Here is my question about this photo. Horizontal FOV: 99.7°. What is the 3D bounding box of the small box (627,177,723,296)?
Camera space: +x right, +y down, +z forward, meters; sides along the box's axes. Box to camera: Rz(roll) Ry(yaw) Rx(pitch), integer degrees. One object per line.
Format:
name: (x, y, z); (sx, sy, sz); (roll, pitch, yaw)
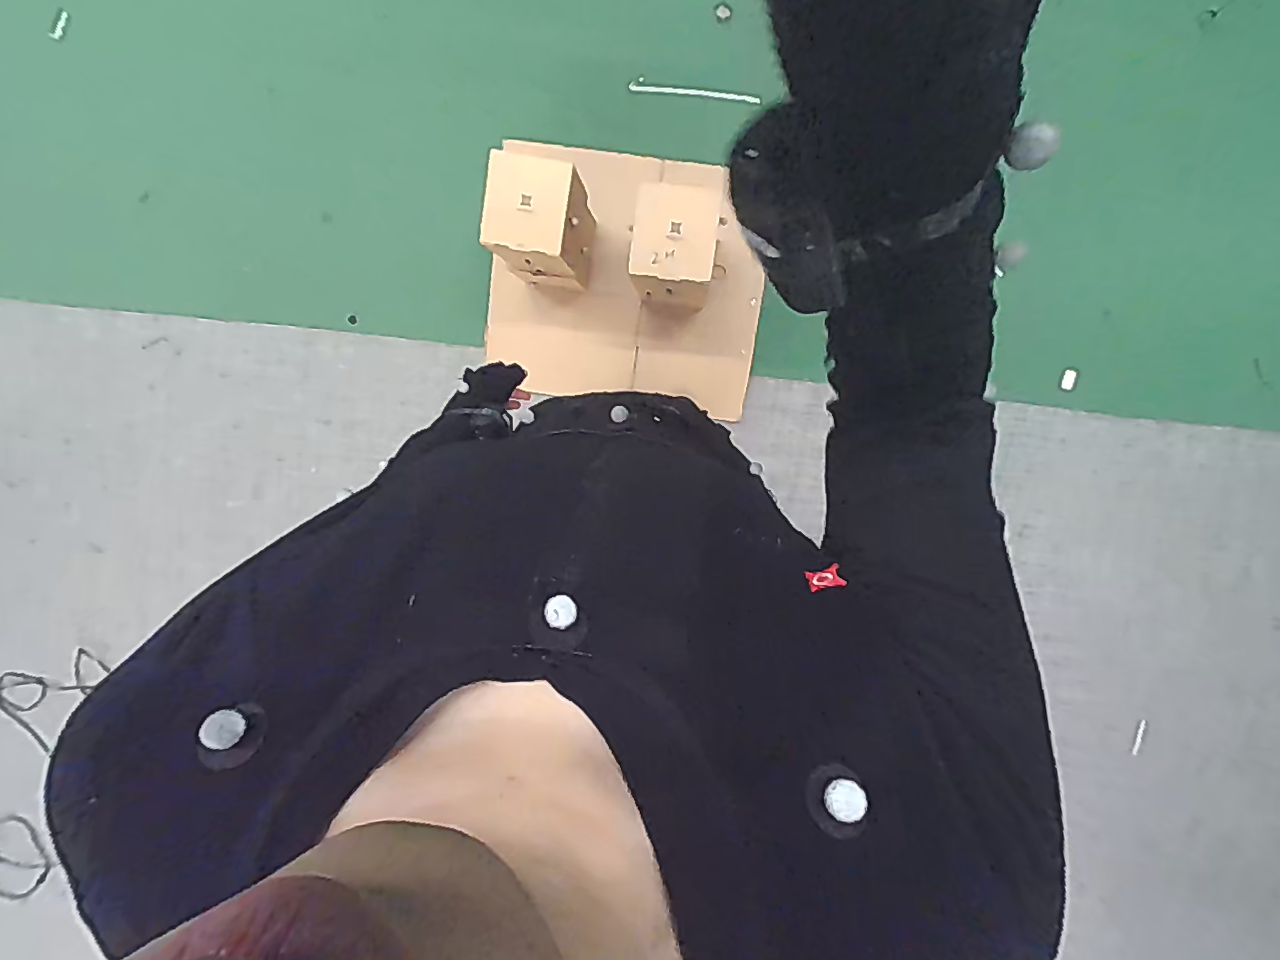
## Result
small box: (0.071, -0.493, 1.115); (0.168, 0.176, 0.179); (8, 100, 3)

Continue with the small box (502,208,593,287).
small box: (-0.213, -0.571, 1.286); (0.168, 0.176, 0.179); (10, 99, 2)

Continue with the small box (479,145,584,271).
small box: (-0.217, -0.555, 1.124); (0.168, 0.176, 0.179); (11, 100, 2)
